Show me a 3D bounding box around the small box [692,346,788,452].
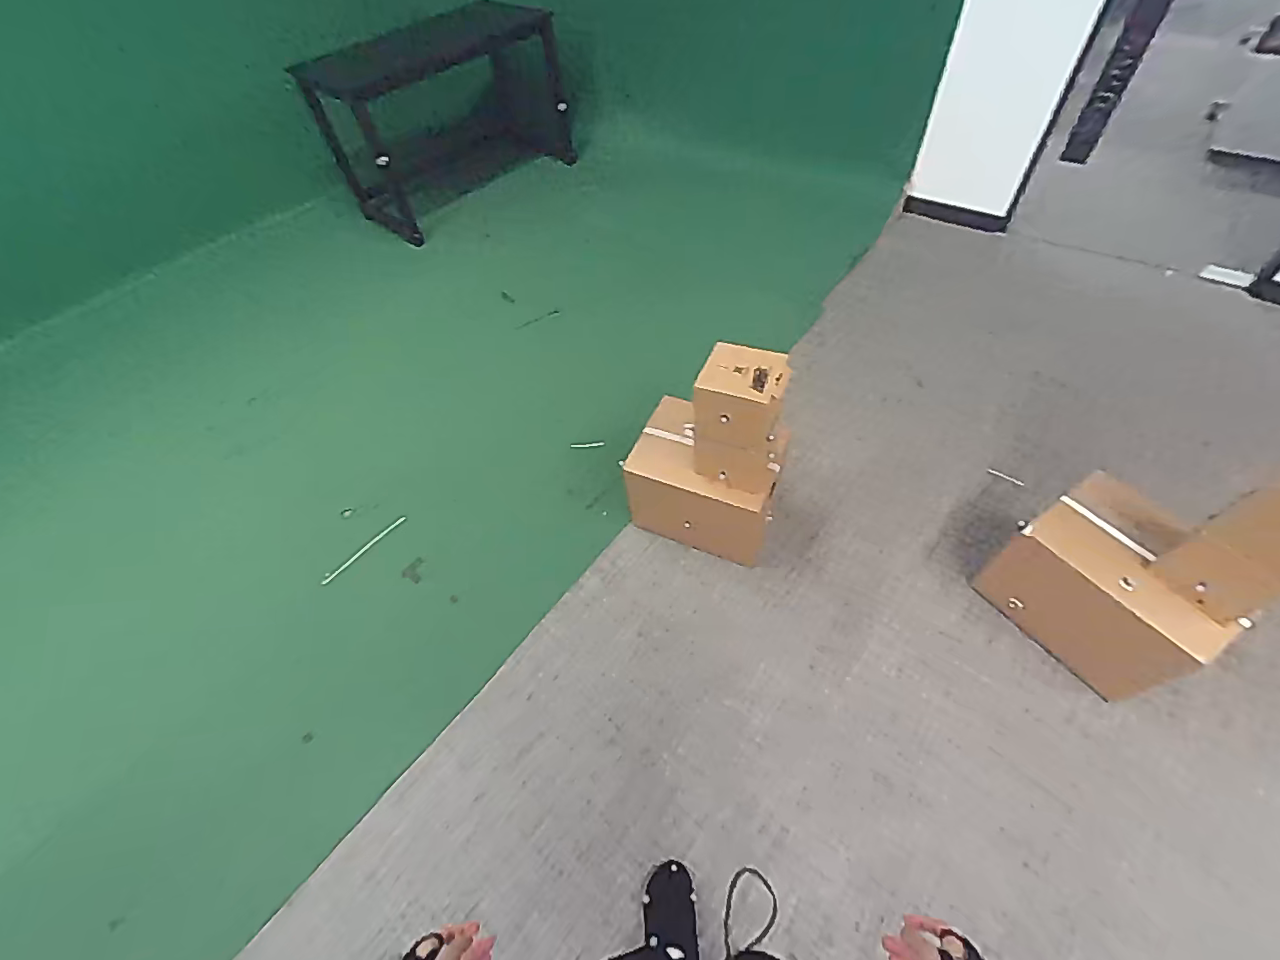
[{"bbox_3d":[0.237,-0.188,1.287,0.179,0.176,0.168,17,57,20],"label":"small box"}]

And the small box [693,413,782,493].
[{"bbox_3d":[0.252,-0.090,1.418,0.179,0.176,0.168,22,58,20],"label":"small box"}]

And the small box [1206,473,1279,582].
[{"bbox_3d":[1.229,0.076,0.989,0.168,0.176,0.179,-27,54,-16],"label":"small box"}]

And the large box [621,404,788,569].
[{"bbox_3d":[0.204,0.019,1.649,0.408,0.320,0.320,17,56,19],"label":"large box"}]

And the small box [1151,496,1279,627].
[{"bbox_3d":[1.234,0.170,1.122,0.179,0.176,0.168,-28,55,-17],"label":"small box"}]
